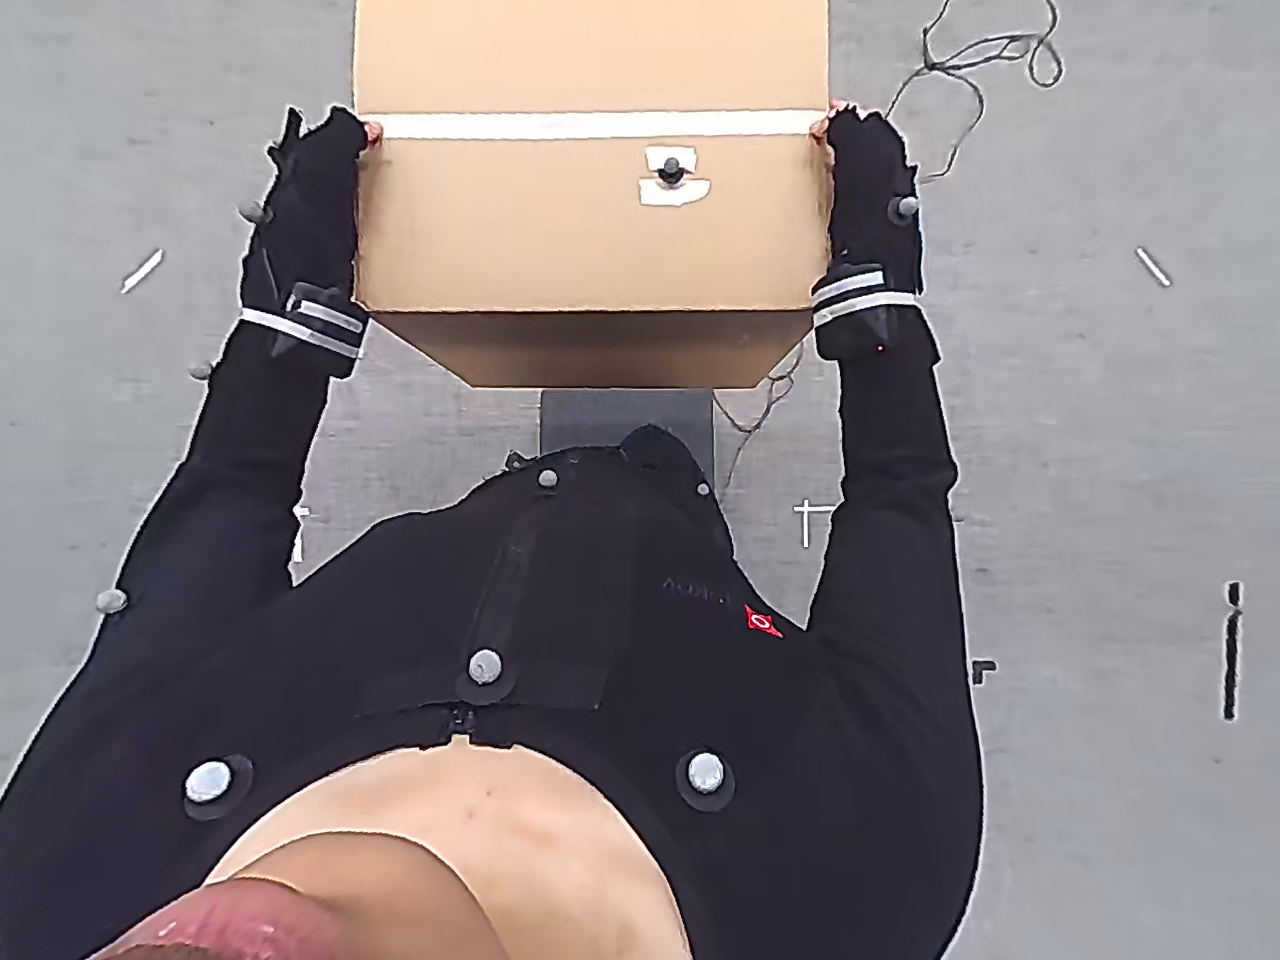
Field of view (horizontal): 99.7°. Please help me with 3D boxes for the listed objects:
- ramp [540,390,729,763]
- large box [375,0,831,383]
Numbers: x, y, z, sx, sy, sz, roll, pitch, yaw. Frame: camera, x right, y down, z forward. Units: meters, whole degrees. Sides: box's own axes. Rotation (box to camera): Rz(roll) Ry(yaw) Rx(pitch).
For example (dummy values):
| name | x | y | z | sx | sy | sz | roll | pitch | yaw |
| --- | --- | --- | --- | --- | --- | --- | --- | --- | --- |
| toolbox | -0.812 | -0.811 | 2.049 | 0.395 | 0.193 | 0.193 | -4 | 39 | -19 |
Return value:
| name | x | y | z | sx | sy | sz | roll | pitch | yaw |
| --- | --- | --- | --- | --- | --- | --- | --- | --- | --- |
| ramp | -0.019 | 0.232 | 1.475 | 0.509 | 0.206 | 0.991 | -2 | 90 | 1 |
| large box | -0.035 | -0.301 | 0.626 | 0.408 | 0.320 | 0.320 | 0 | 88 | 0 |
